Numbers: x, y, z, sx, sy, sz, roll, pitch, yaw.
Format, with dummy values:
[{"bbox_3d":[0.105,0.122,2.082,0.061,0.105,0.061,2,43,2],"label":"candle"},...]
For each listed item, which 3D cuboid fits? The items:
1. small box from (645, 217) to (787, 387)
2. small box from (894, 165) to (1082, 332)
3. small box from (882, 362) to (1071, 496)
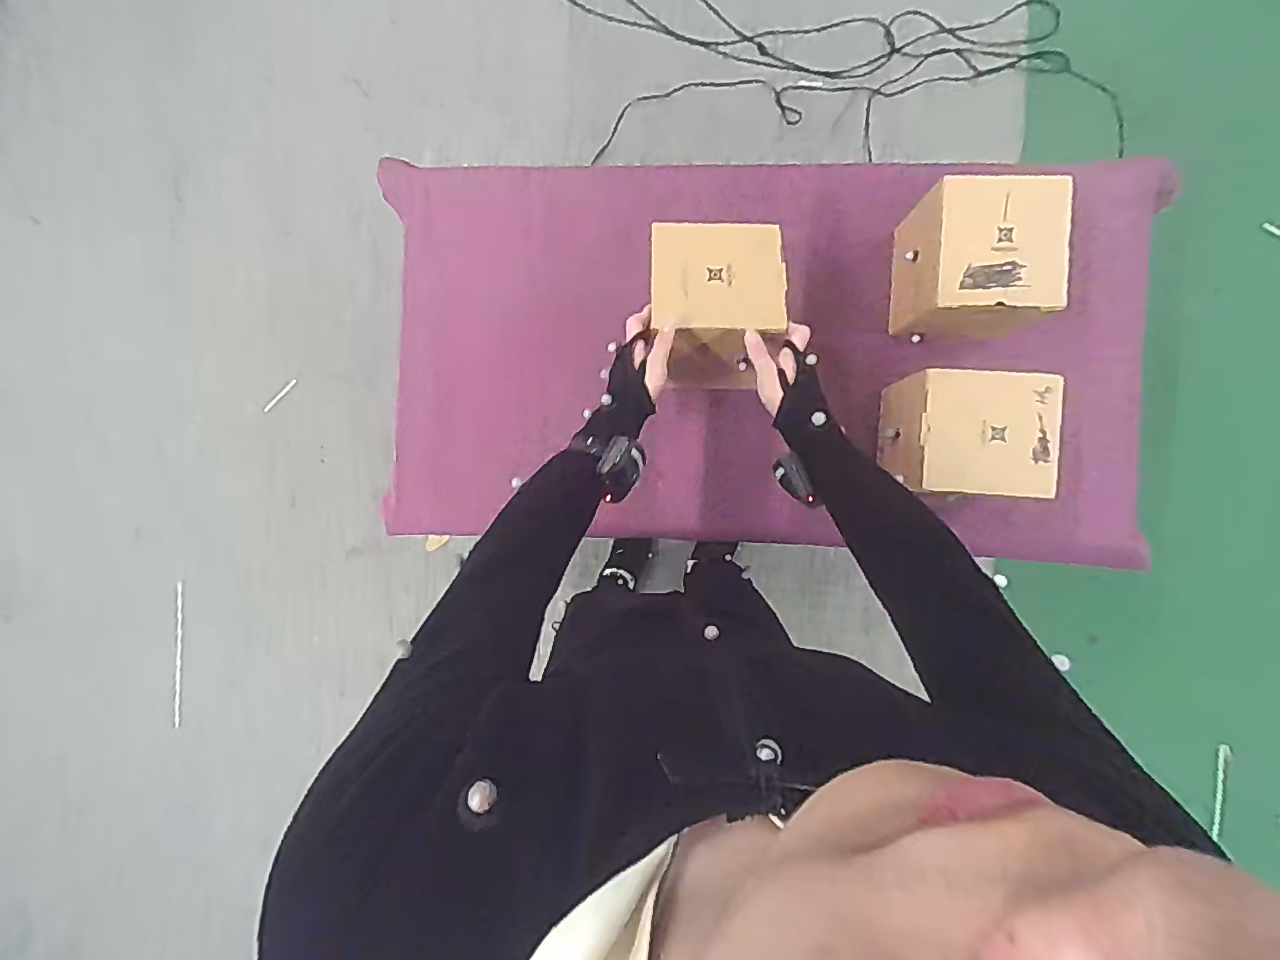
[{"bbox_3d":[0.098,-0.240,0.761,0.179,0.176,0.168,1,75,2],"label":"small box"},{"bbox_3d":[0.480,-0.317,0.772,0.168,0.176,0.179,3,91,4],"label":"small box"},{"bbox_3d":[0.466,-0.066,0.777,0.179,0.176,0.168,4,90,5],"label":"small box"}]
